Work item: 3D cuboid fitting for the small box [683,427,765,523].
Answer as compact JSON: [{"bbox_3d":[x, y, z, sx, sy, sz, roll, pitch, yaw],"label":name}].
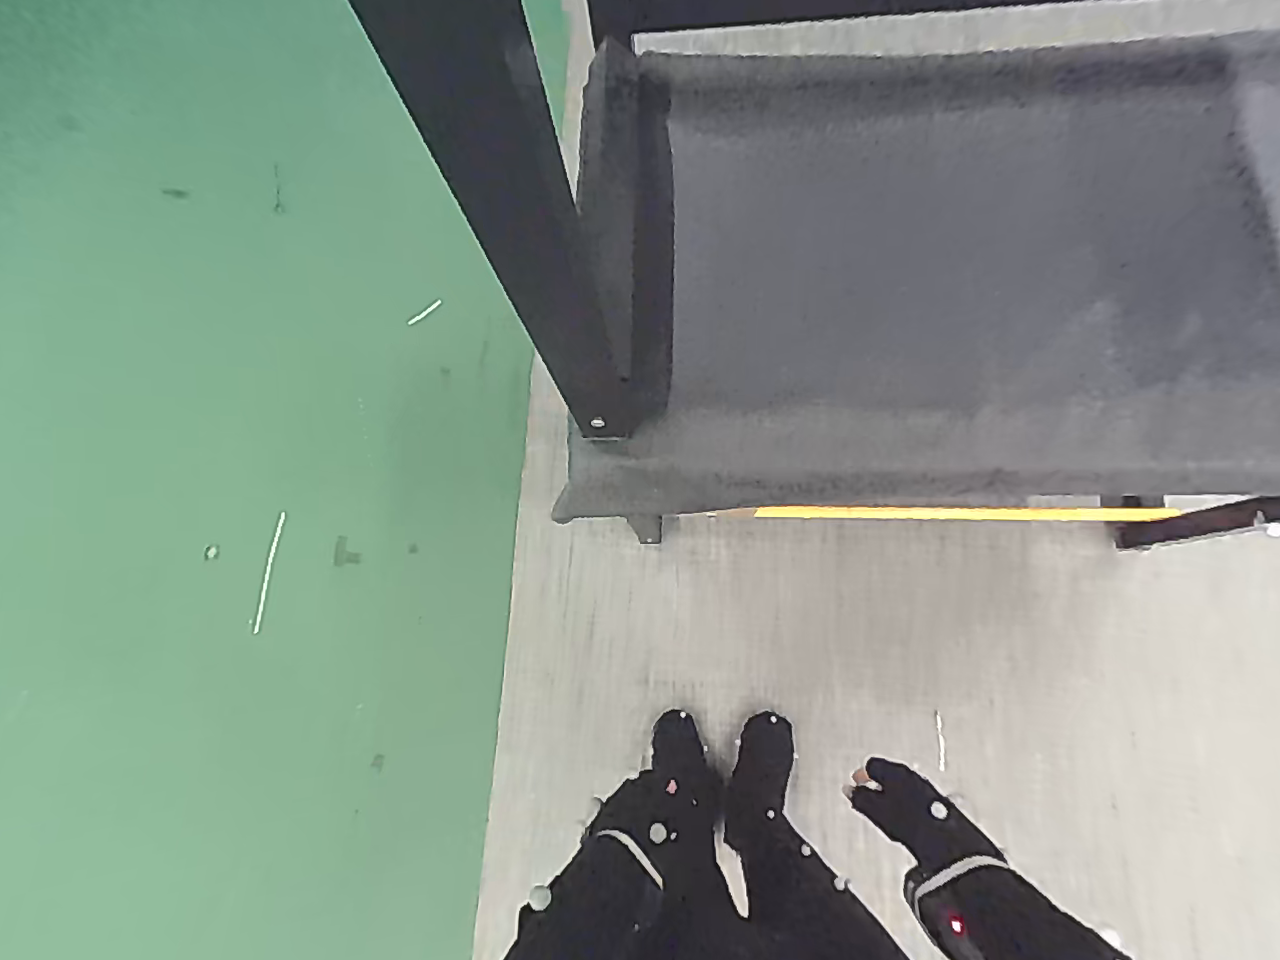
[{"bbox_3d":[0.179,-0.007,1.192,0.168,0.176,0.179,-1,76,4],"label":"small box"}]
